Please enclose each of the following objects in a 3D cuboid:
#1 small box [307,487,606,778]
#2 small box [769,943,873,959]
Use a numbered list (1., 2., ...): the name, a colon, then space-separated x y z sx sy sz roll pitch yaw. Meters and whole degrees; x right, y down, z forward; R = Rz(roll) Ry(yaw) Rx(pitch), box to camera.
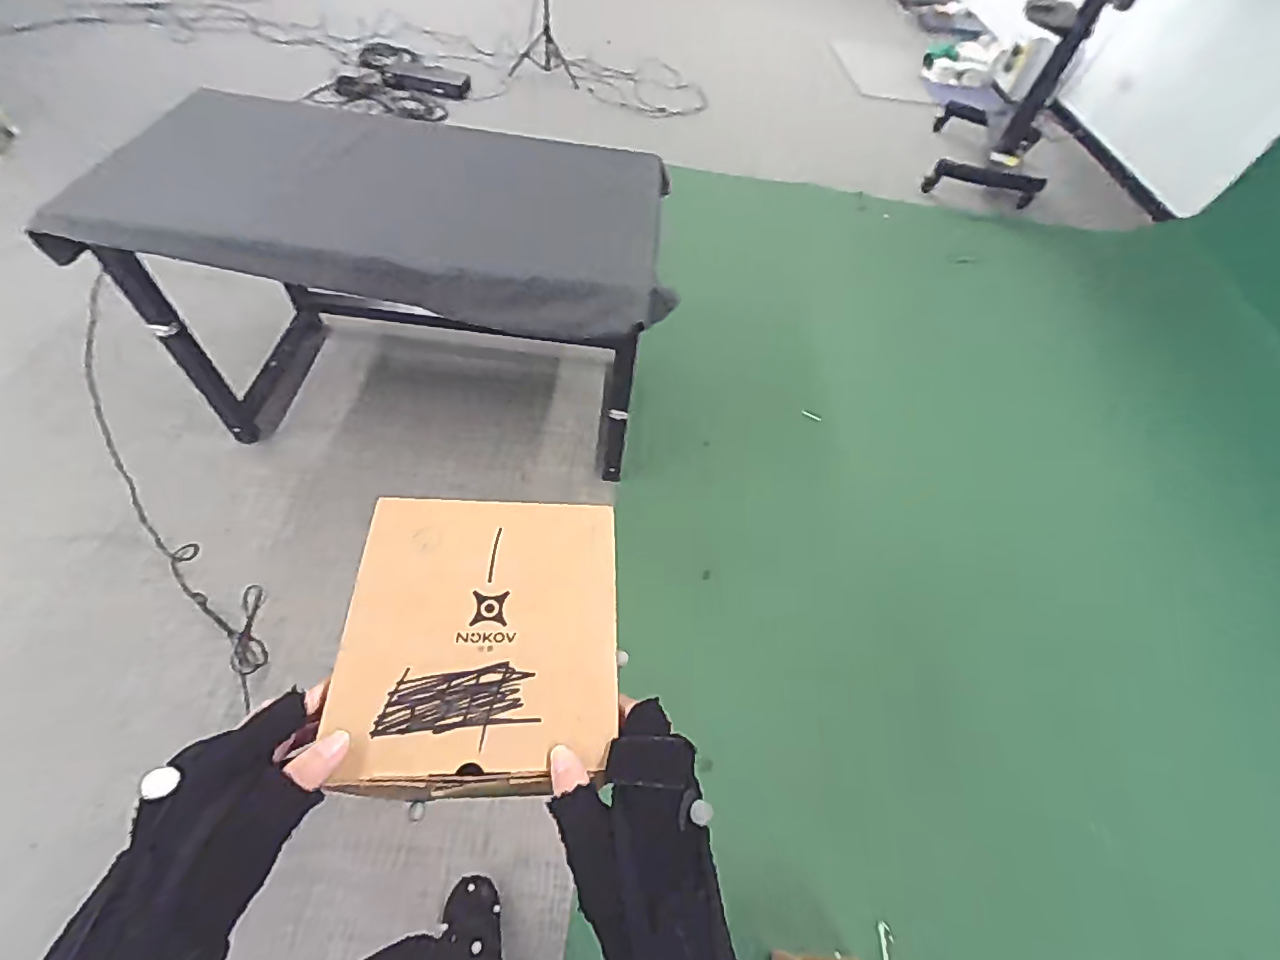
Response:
1. small box: -0.114 0.124 0.411 0.168 0.176 0.179 3 57 -9
2. small box: 0.352 0.980 1.003 0.179 0.176 0.168 7 54 -1
